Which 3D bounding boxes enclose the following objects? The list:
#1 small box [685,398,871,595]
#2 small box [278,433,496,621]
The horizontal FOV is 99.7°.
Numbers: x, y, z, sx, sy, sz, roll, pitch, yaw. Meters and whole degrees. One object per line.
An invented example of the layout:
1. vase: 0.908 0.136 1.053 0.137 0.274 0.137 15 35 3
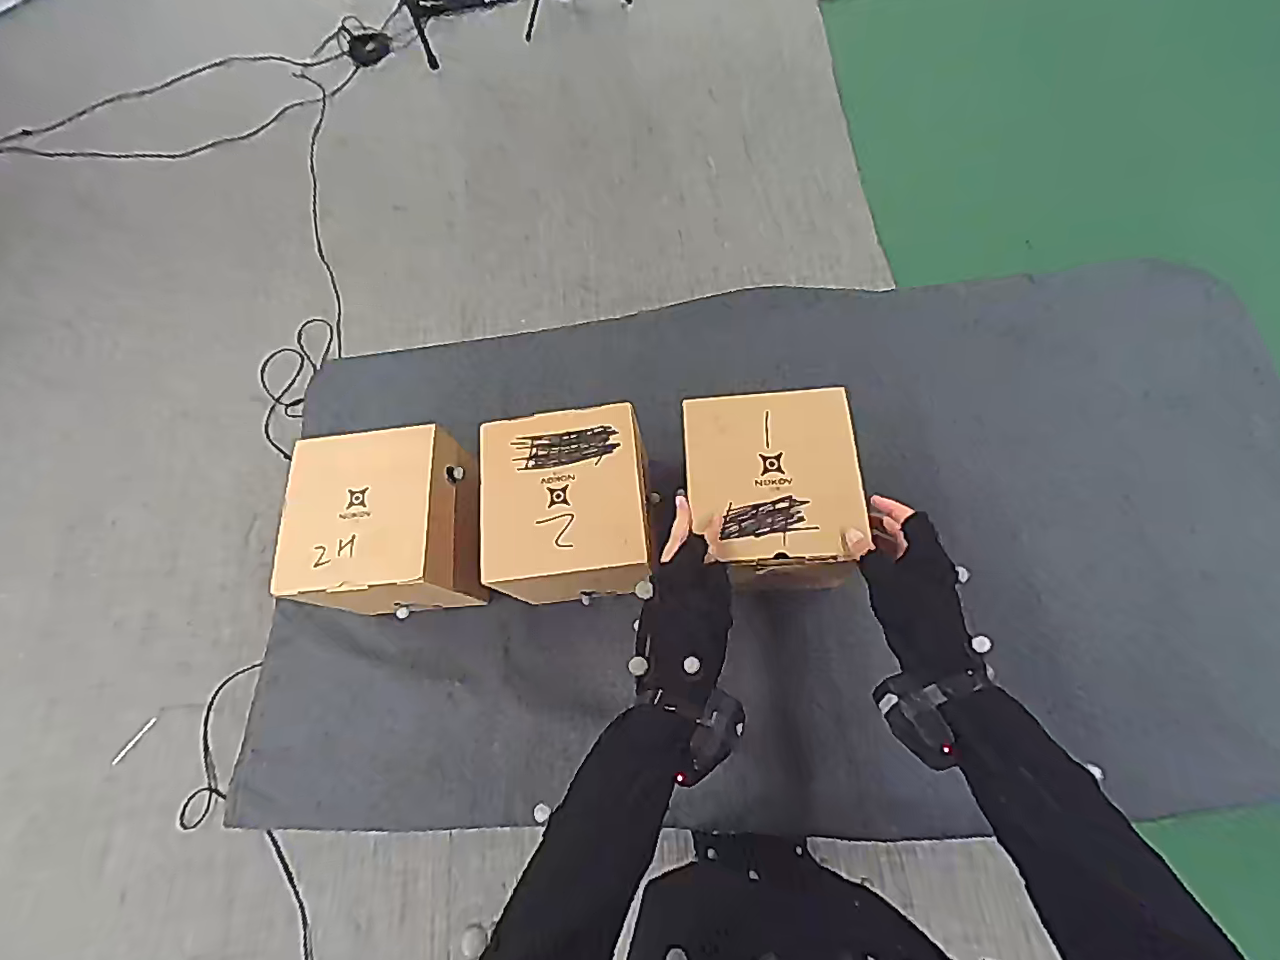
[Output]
1. small box: 0.140 0.031 0.600 0.168 0.176 0.179 -4 68 7
2. small box: -0.281 0.064 0.645 0.168 0.176 0.179 -6 68 6
